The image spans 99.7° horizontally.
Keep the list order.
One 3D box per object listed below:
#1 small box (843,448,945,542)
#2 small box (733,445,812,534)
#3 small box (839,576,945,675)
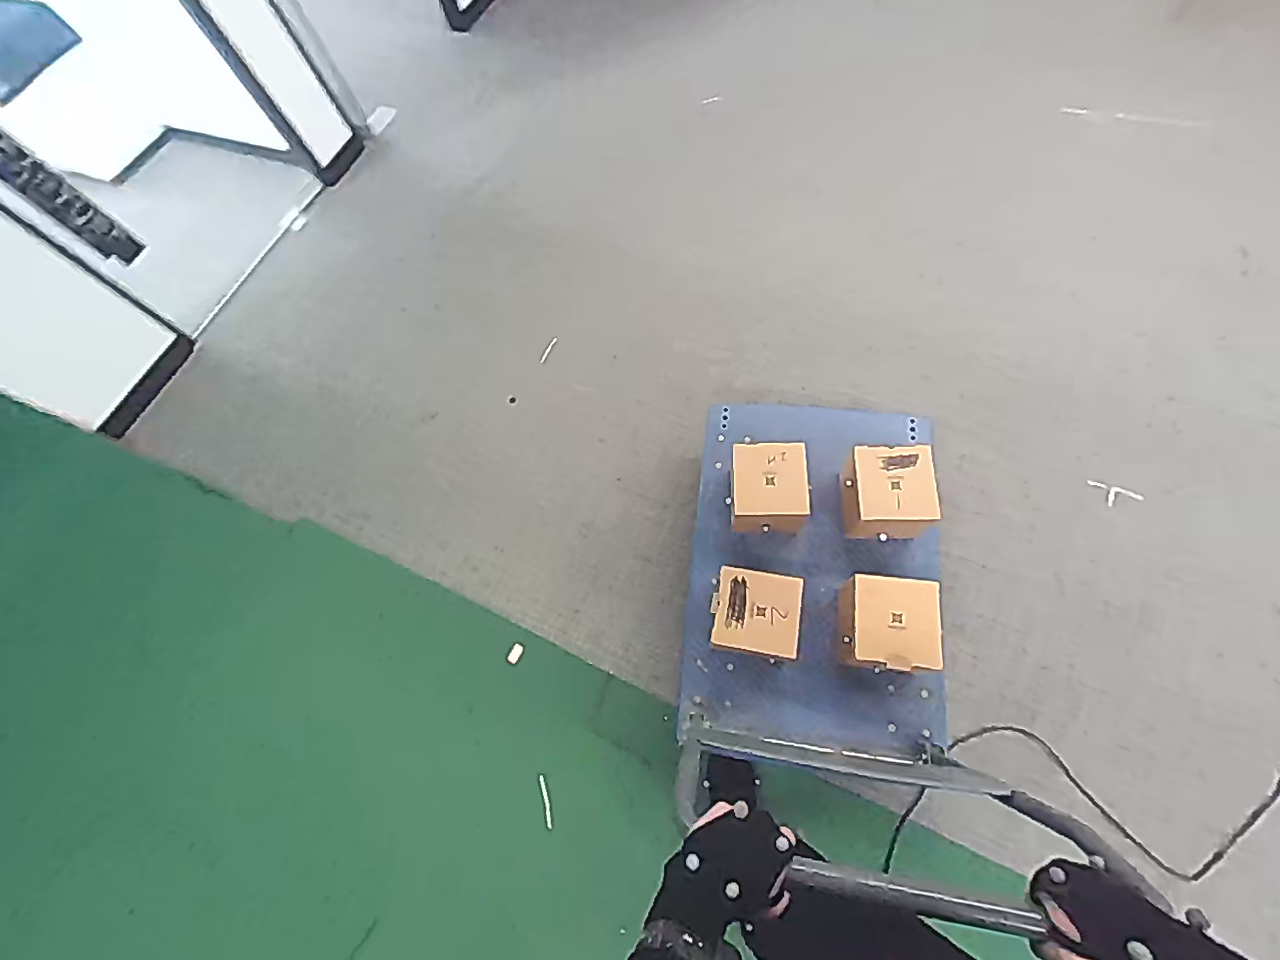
[{"bbox_3d":[0.577,0.038,1.253,0.168,0.176,0.179,0,70,8],"label":"small box"},{"bbox_3d":[0.311,0.028,1.293,0.168,0.176,0.179,1,70,7],"label":"small box"},{"bbox_3d":[0.531,0.316,1.158,0.168,0.176,0.179,5,71,10],"label":"small box"}]
